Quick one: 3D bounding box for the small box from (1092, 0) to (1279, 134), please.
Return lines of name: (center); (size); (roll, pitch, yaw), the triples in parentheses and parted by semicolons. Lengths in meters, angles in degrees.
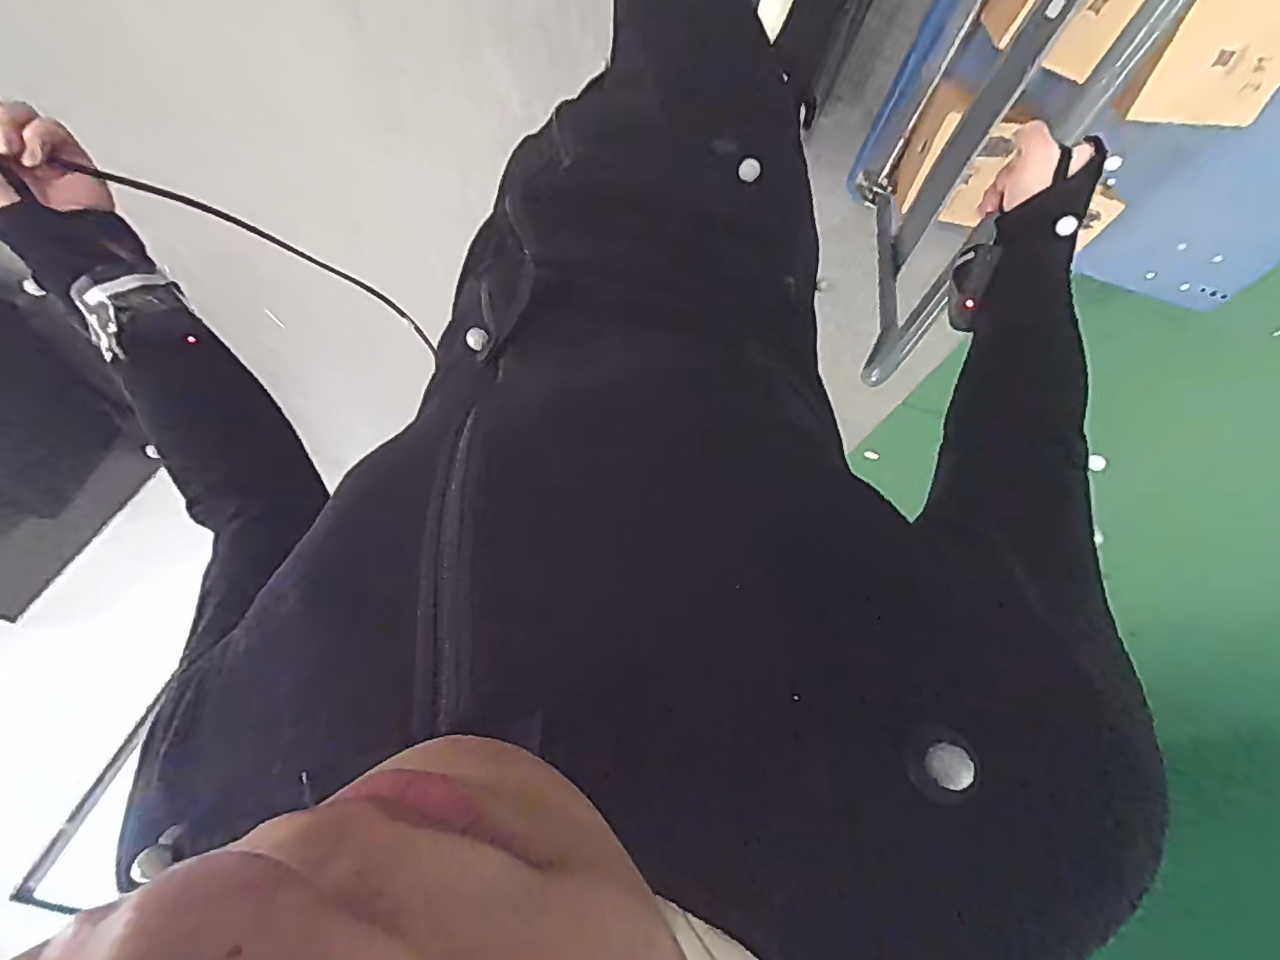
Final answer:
small box: (0.852, -0.660, 0.830); (0.179, 0.176, 0.168); (9, 143, 8)
